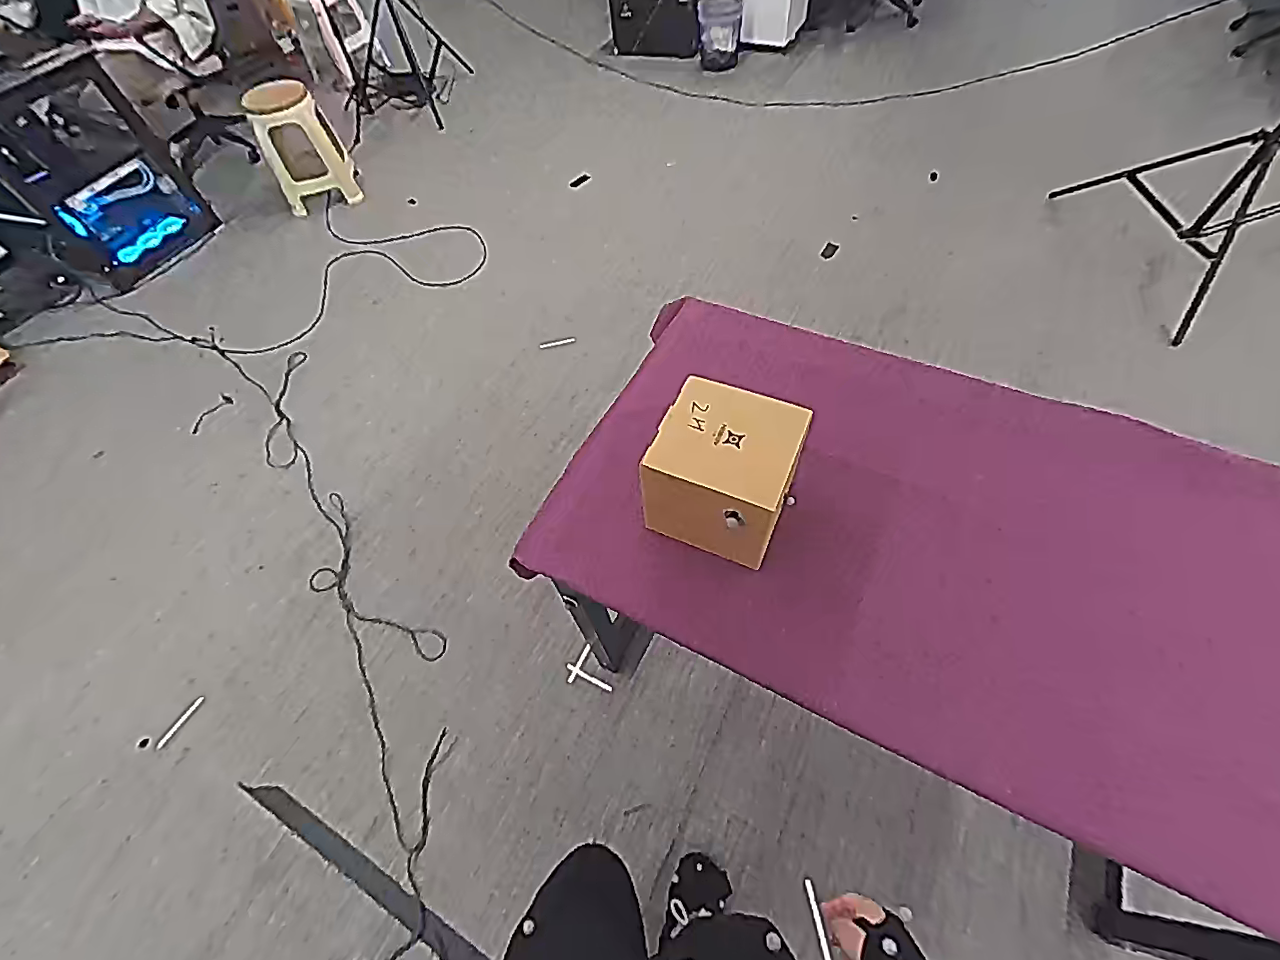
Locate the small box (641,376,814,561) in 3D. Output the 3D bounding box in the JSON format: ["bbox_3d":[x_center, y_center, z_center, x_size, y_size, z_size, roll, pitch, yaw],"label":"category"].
[{"bbox_3d":[0.118,-0.009,0.748,0.179,0.176,0.168,20,60,17],"label":"small box"}]
